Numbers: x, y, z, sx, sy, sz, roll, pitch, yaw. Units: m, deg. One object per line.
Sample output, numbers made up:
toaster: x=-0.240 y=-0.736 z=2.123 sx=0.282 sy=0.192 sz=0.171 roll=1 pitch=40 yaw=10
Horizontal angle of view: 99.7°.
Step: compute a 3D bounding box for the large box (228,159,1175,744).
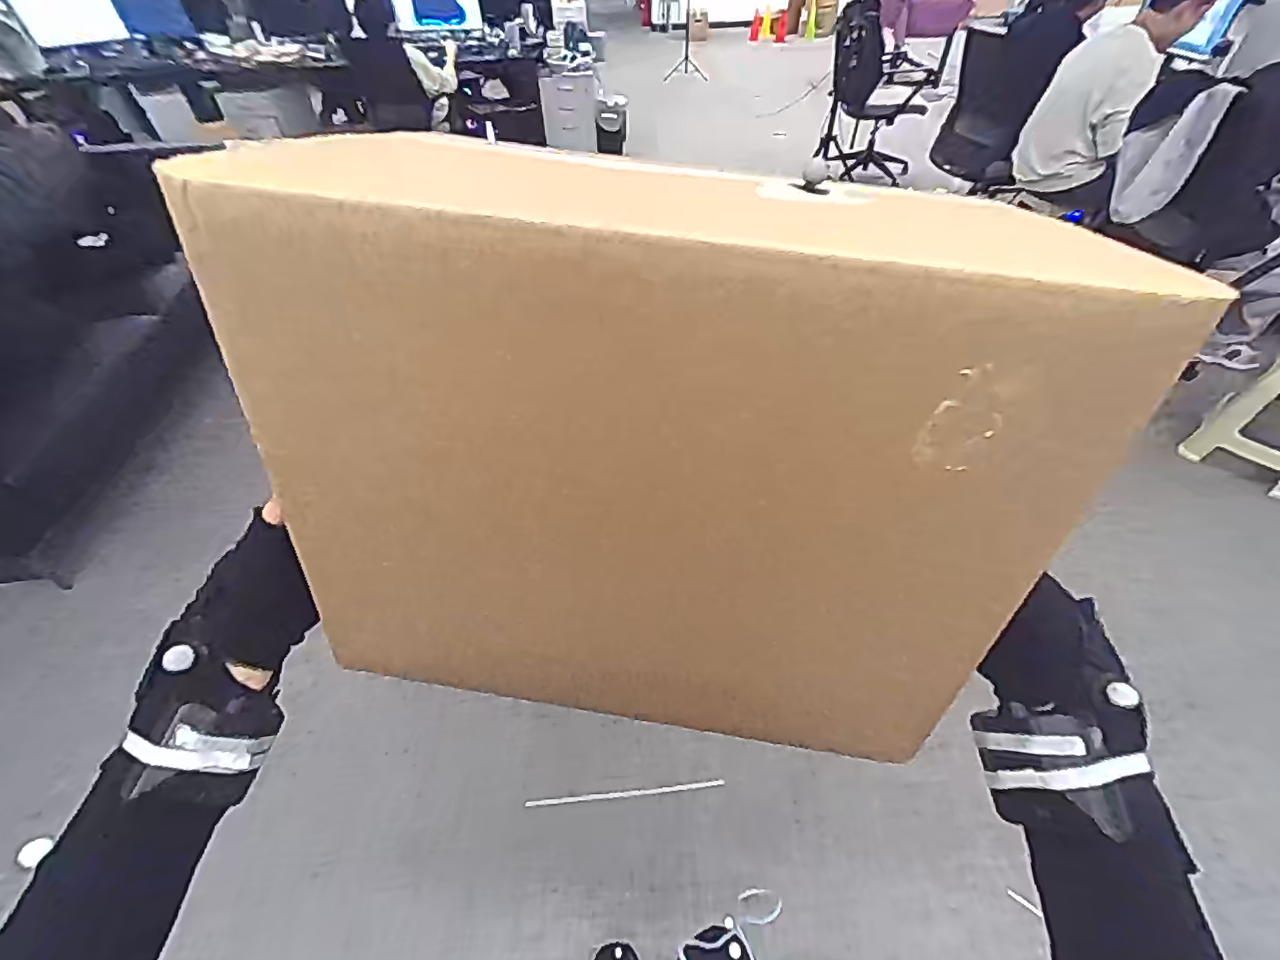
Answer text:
large box: x=0.019 y=-0.046 z=0.425 sx=0.408 sy=0.320 sz=0.320 roll=9 pitch=34 yaw=3
